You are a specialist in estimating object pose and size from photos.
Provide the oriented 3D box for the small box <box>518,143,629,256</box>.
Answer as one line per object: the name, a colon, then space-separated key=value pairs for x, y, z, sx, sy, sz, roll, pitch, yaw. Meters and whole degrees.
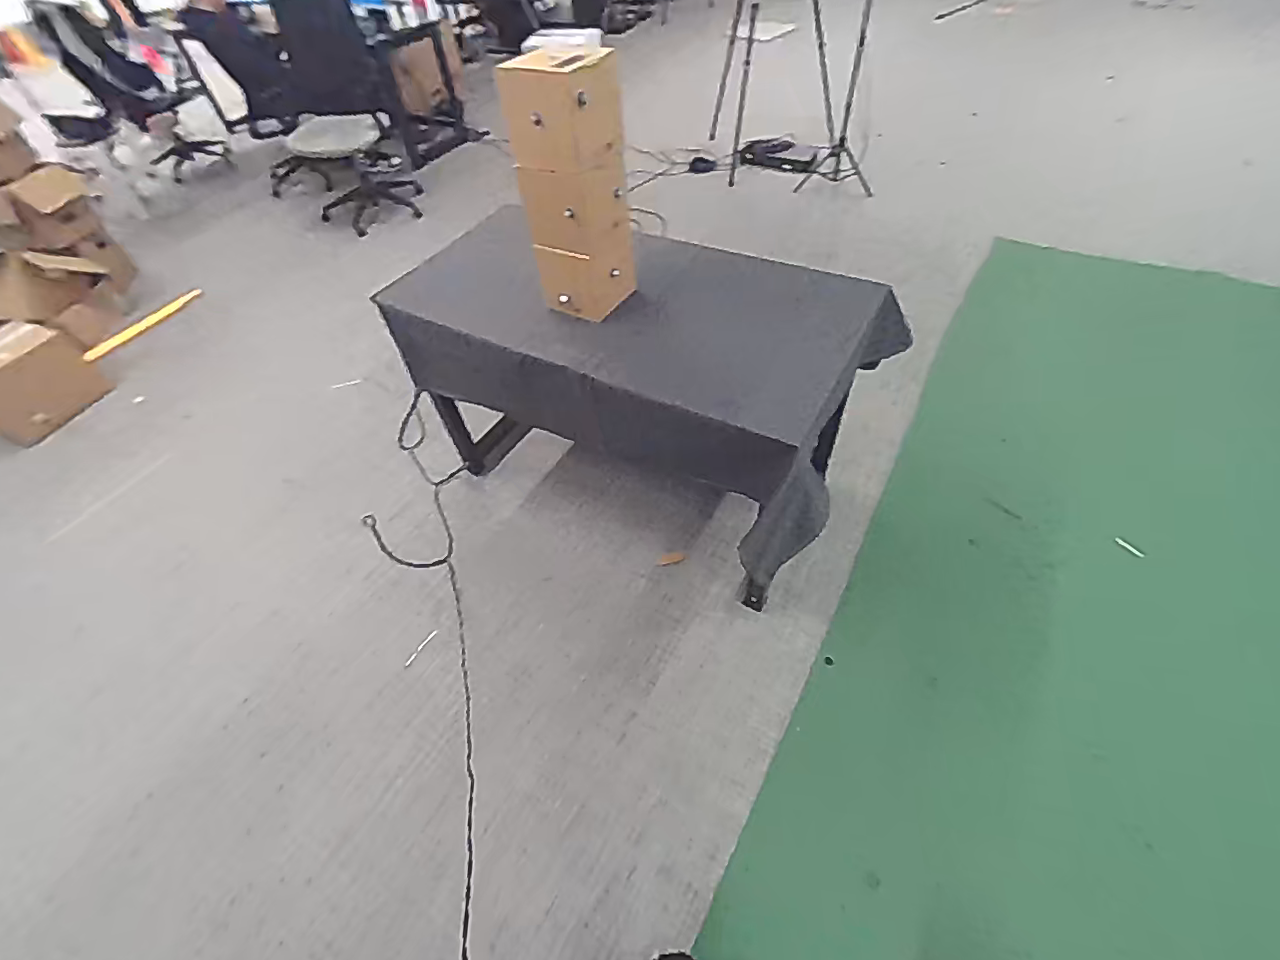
small box: x=-0.137 y=-0.622 z=1.205 sx=0.179 sy=0.176 sz=0.168 roll=21 pitch=54 yaw=22

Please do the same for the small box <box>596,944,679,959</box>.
small box: x=-0.003 y=1.003 z=0.998 sx=0.168 sy=0.176 sz=0.179 roll=-7 pitch=24 yaw=18

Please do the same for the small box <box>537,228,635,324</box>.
small box: x=-0.123 y=-0.514 z=1.326 sx=0.168 sy=0.176 sz=0.179 roll=23 pitch=57 yaw=23
